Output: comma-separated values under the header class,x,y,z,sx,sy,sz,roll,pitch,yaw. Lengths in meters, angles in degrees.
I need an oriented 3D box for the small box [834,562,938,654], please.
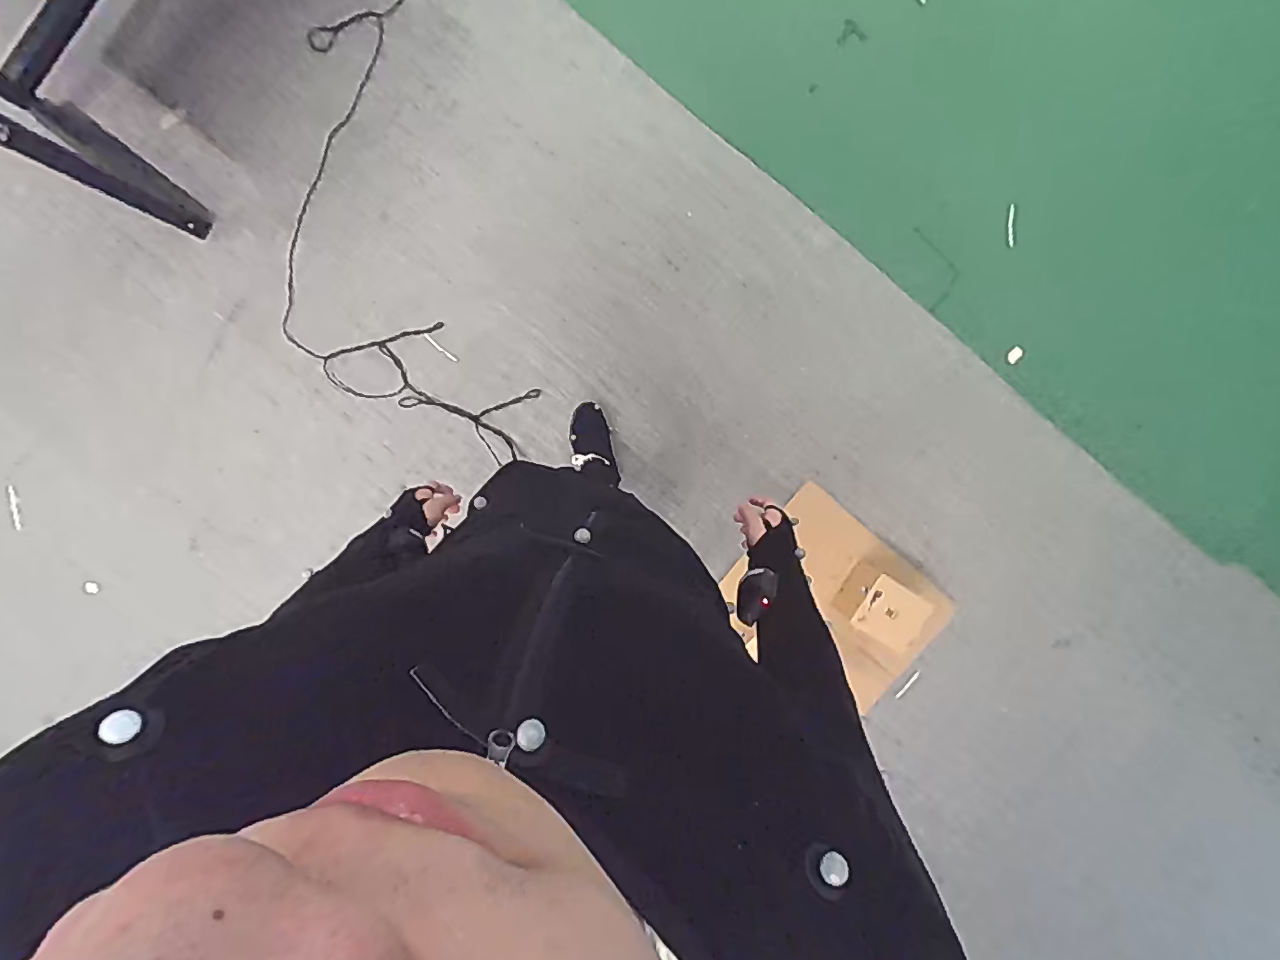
class,x,y,z,sx,sy,sz,roll,pitch,yaw
small box,0.692,0.355,1.541,0.179,0.176,0.168,32,94,-2
